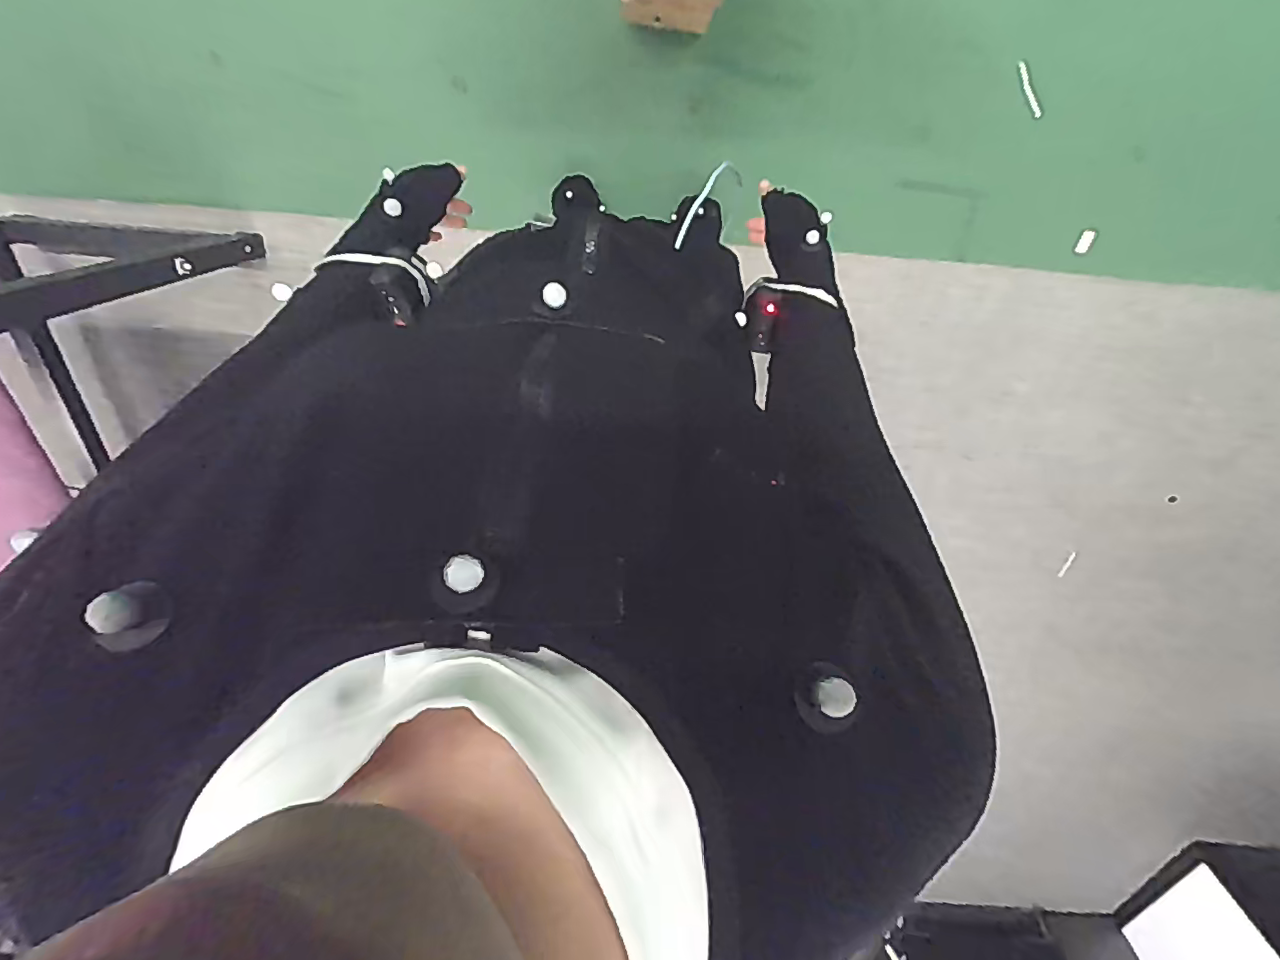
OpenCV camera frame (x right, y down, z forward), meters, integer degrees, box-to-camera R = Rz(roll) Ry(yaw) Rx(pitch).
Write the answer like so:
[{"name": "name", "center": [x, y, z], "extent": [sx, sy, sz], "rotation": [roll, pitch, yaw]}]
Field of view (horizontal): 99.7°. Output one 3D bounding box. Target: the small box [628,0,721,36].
[{"name": "small box", "center": [0.067, -0.934, 0.969], "extent": [0.168, 0.176, 0.179], "rotation": [6, 121, -3]}]
